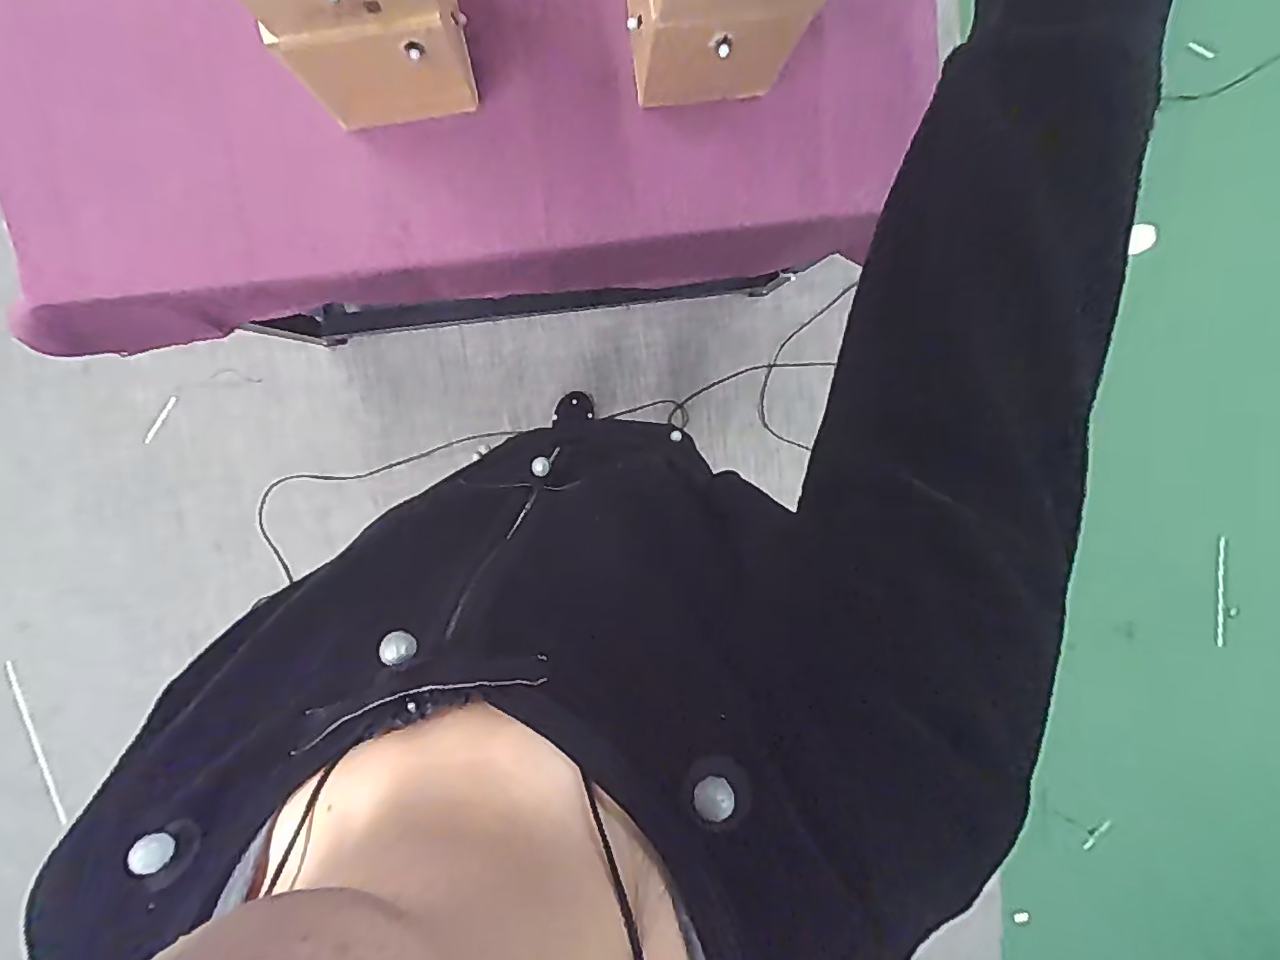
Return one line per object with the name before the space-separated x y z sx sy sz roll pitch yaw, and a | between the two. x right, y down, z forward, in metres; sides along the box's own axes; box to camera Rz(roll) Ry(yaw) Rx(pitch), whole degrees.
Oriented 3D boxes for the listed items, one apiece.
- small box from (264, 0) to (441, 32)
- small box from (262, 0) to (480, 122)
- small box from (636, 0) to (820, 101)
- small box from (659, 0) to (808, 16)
small box | -0.278 -0.517 0.433 0.168 0.176 0.179 -12 99 -3
small box | -0.295 -0.530 0.597 0.179 0.176 0.168 -12 99 -4
small box | 0.087 -0.569 0.621 0.179 0.176 0.168 -7 99 -4
small box | 0.104 -0.544 0.460 0.179 0.176 0.168 -7 100 -3
